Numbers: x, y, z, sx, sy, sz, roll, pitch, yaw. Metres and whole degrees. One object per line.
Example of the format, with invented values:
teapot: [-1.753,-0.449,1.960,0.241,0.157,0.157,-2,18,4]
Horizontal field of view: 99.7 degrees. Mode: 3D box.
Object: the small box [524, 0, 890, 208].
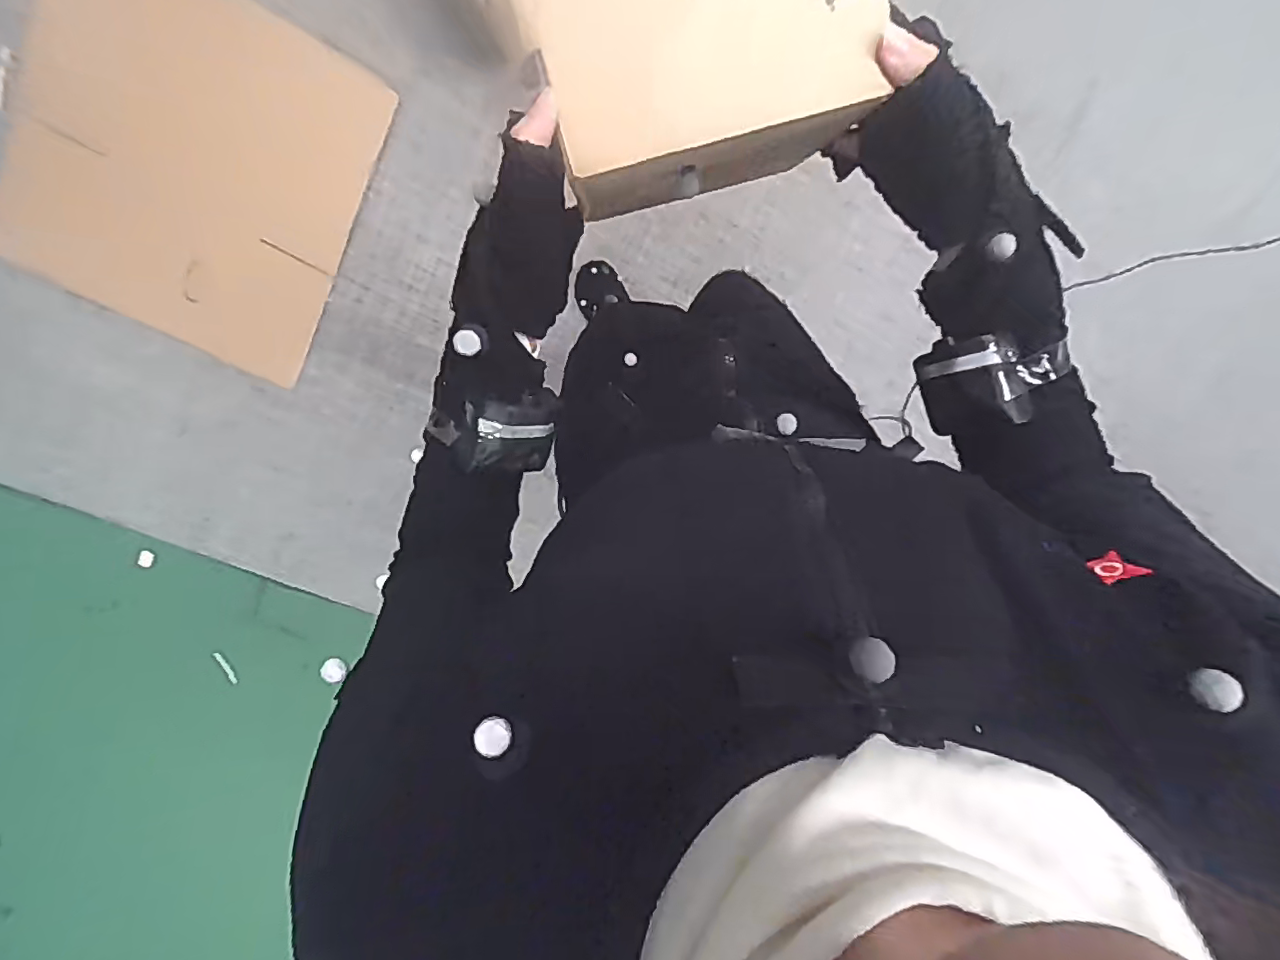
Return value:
small box: [0.022,-0.293,0.338,0.179,0.176,0.168,-17,106,3]
